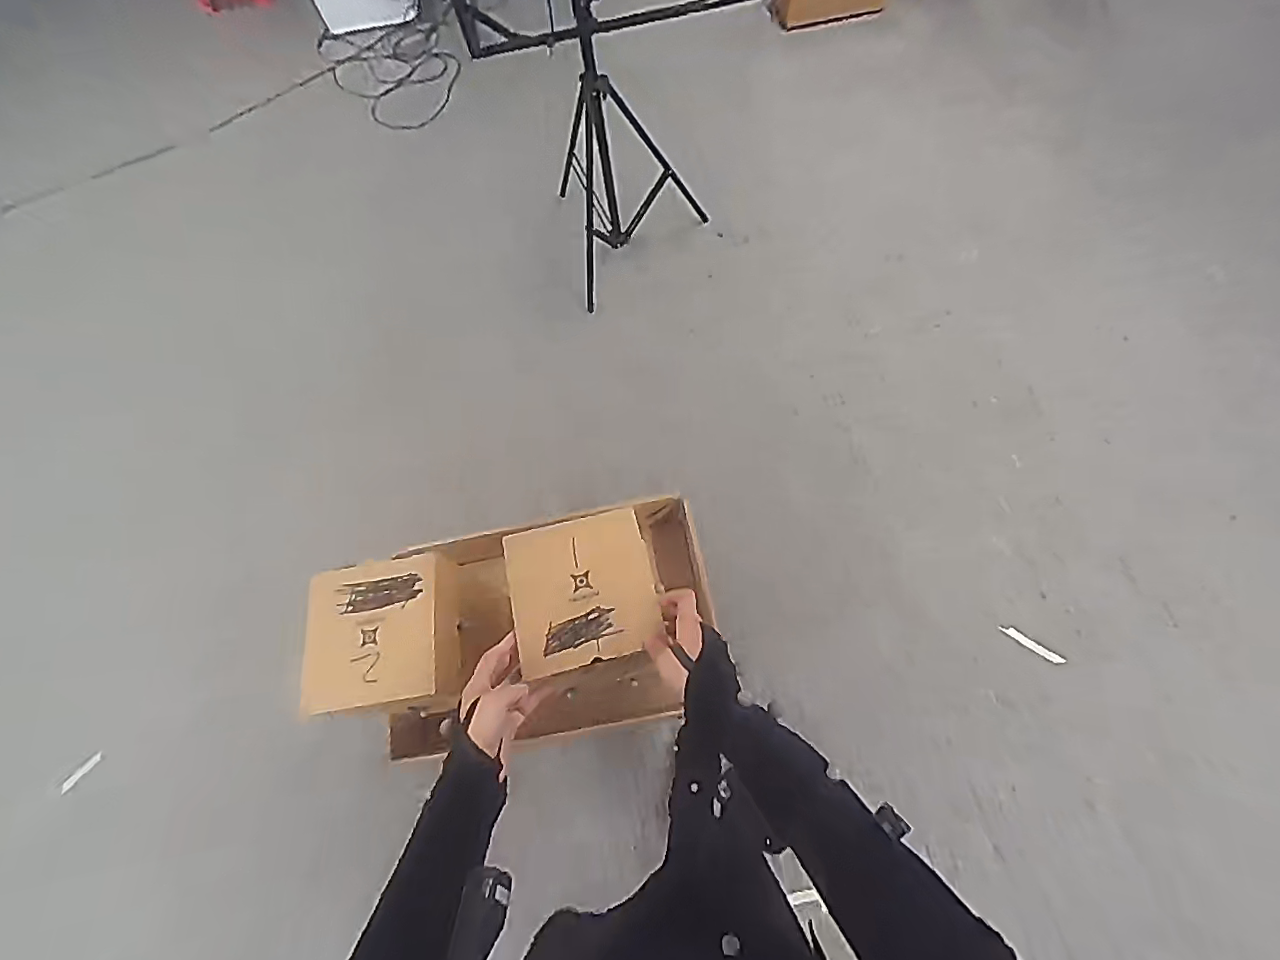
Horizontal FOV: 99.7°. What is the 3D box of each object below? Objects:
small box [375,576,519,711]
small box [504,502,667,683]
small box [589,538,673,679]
[{"bbox_3d":[-0.306,0.273,0.887,0.168,0.176,0.179,-11,66,3],"label":"small box"},{"bbox_3d":[-0.065,0.154,0.700,0.168,0.176,0.179,-13,64,-6],"label":"small box"},{"bbox_3d":[-0.045,0.215,0.882,0.168,0.176,0.179,-14,67,1],"label":"small box"}]
